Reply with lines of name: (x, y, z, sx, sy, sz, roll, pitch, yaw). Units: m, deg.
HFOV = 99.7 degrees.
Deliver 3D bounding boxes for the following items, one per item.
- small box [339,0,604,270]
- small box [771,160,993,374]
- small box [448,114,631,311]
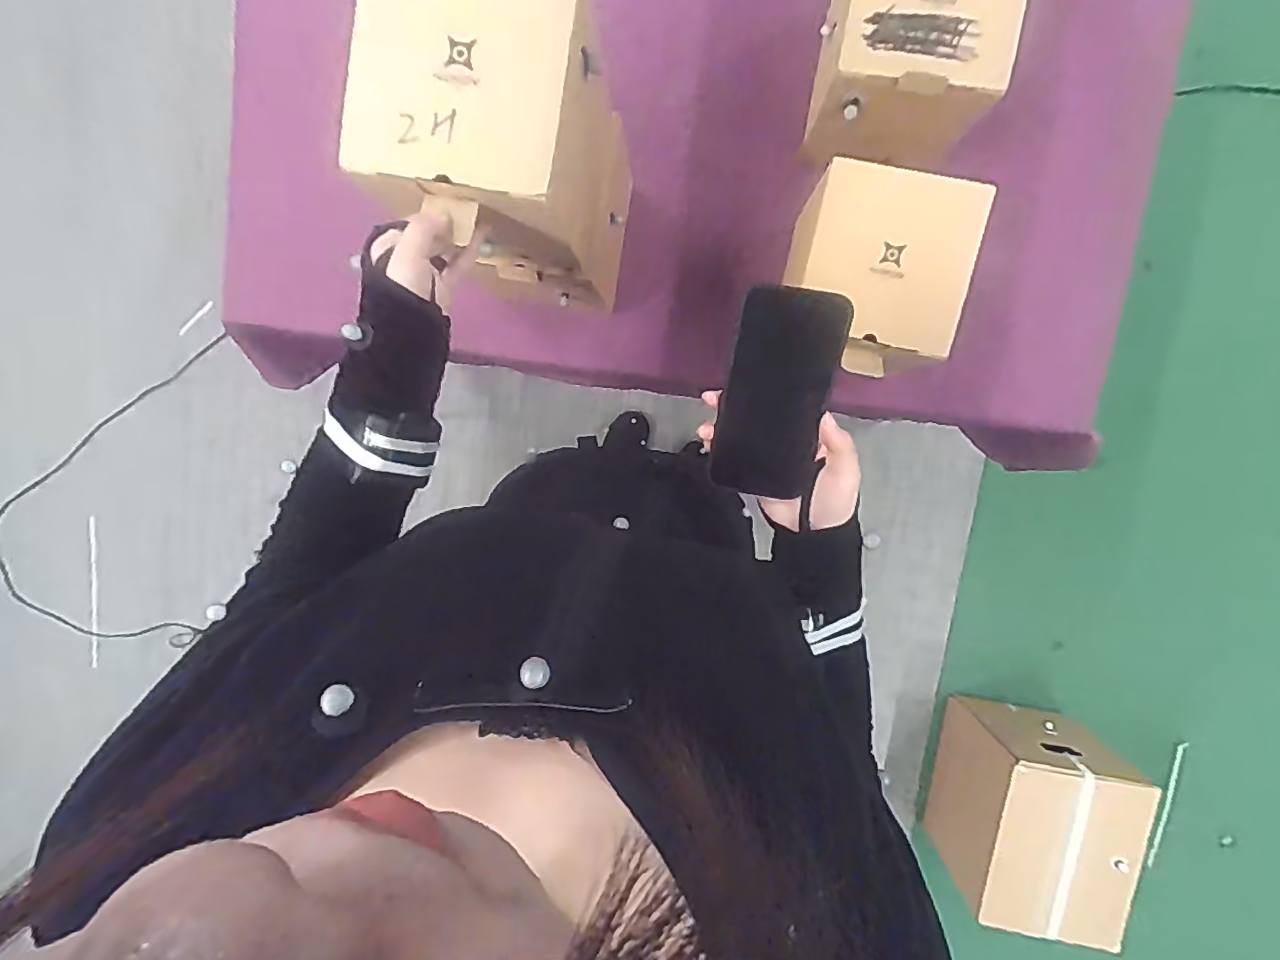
small box: (-0.131, -0.313, 0.485, 0.168, 0.176, 0.179, 11, 95, 2)
small box: (0.262, -0.231, 0.631, 0.168, 0.176, 0.179, 13, 98, 3)
small box: (-0.108, -0.315, 0.652, 0.168, 0.176, 0.179, 11, 96, 2)
